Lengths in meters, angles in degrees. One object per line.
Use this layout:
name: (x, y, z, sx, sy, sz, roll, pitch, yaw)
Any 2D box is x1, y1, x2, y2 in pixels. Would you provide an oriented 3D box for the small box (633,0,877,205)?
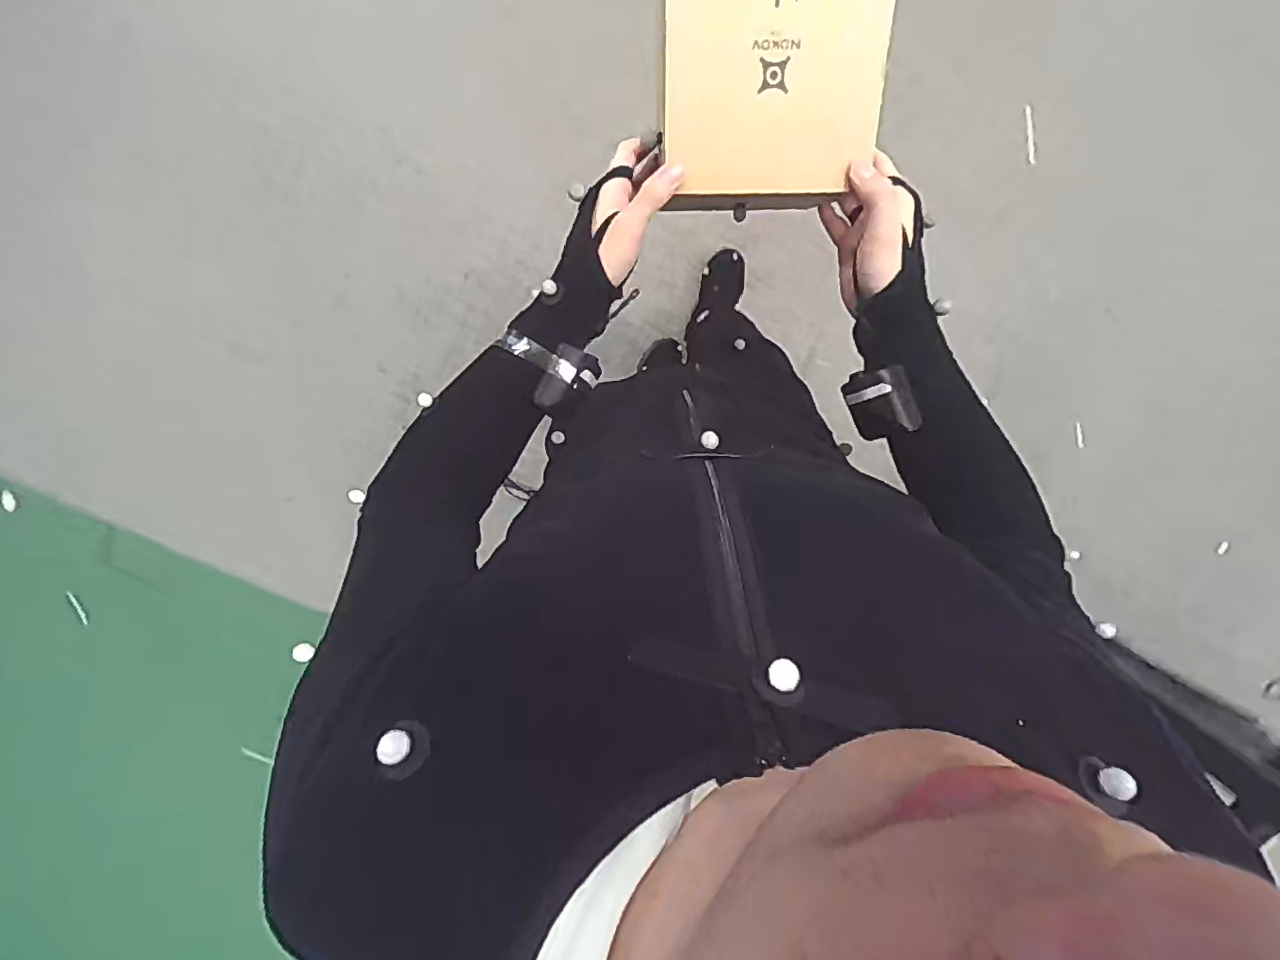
small box: (0.079, -0.334, 0.455, 0.168, 0.176, 0.179, 0, 113, -2)
